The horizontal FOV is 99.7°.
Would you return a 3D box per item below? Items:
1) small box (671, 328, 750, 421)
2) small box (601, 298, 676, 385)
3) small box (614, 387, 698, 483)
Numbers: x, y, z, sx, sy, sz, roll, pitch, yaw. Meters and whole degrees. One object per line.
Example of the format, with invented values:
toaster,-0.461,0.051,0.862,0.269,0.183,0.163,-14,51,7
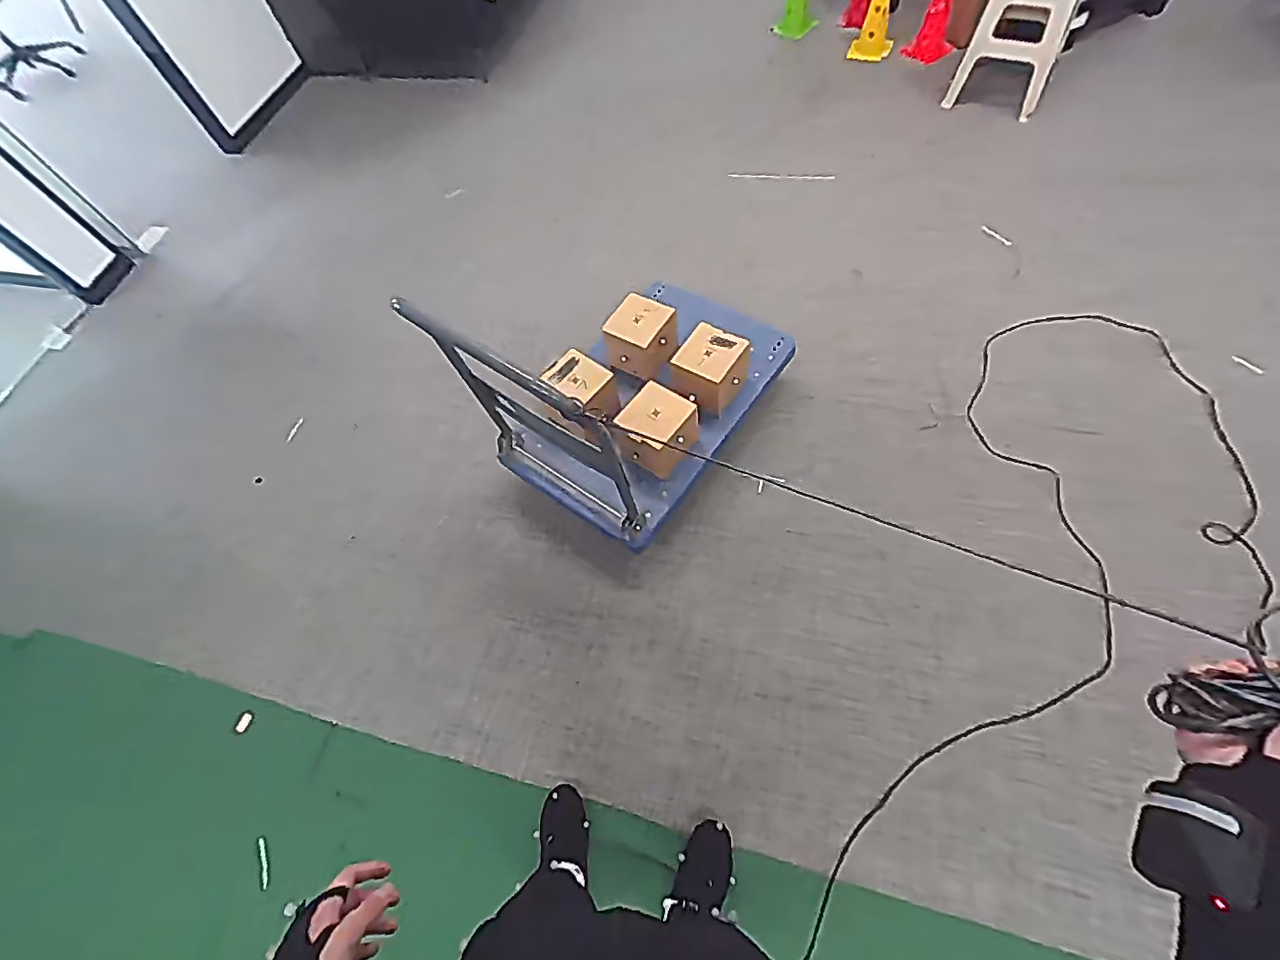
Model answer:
small box,0.210,-0.312,1.612,0.168,0.176,0.179,30,70,22
small box,0.004,-0.432,1.706,0.168,0.176,0.179,28,69,20
small box,0.049,-0.125,1.536,0.168,0.176,0.179,33,71,22
